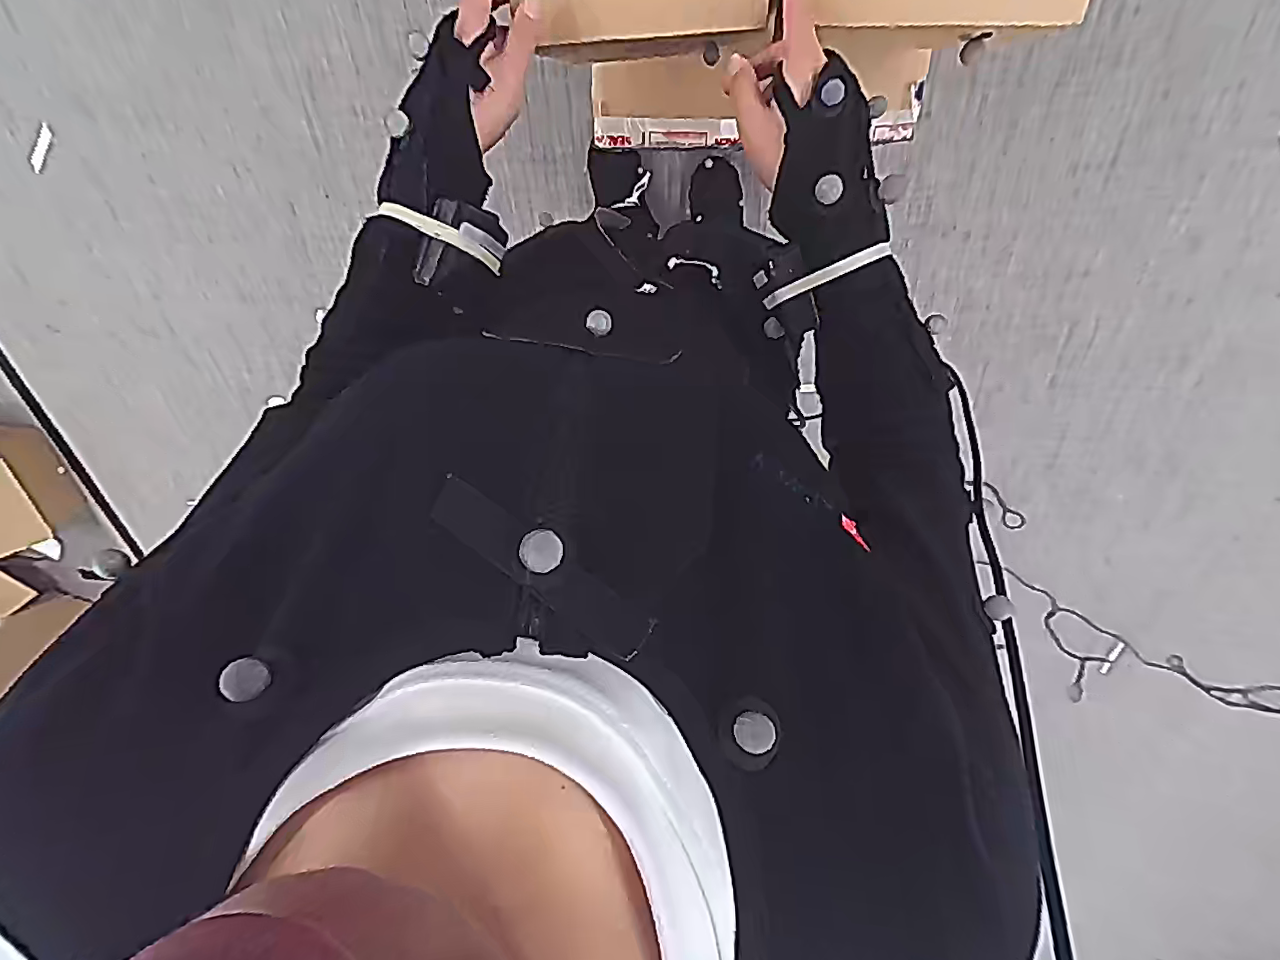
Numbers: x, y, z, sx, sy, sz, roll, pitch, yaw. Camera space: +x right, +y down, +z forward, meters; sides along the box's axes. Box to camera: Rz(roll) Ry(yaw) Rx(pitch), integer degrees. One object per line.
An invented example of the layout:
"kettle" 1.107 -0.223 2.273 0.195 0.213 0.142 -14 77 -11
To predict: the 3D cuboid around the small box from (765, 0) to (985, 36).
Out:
"small box" 0.215 -0.513 0.481 0.179 0.176 0.168 6 125 2
